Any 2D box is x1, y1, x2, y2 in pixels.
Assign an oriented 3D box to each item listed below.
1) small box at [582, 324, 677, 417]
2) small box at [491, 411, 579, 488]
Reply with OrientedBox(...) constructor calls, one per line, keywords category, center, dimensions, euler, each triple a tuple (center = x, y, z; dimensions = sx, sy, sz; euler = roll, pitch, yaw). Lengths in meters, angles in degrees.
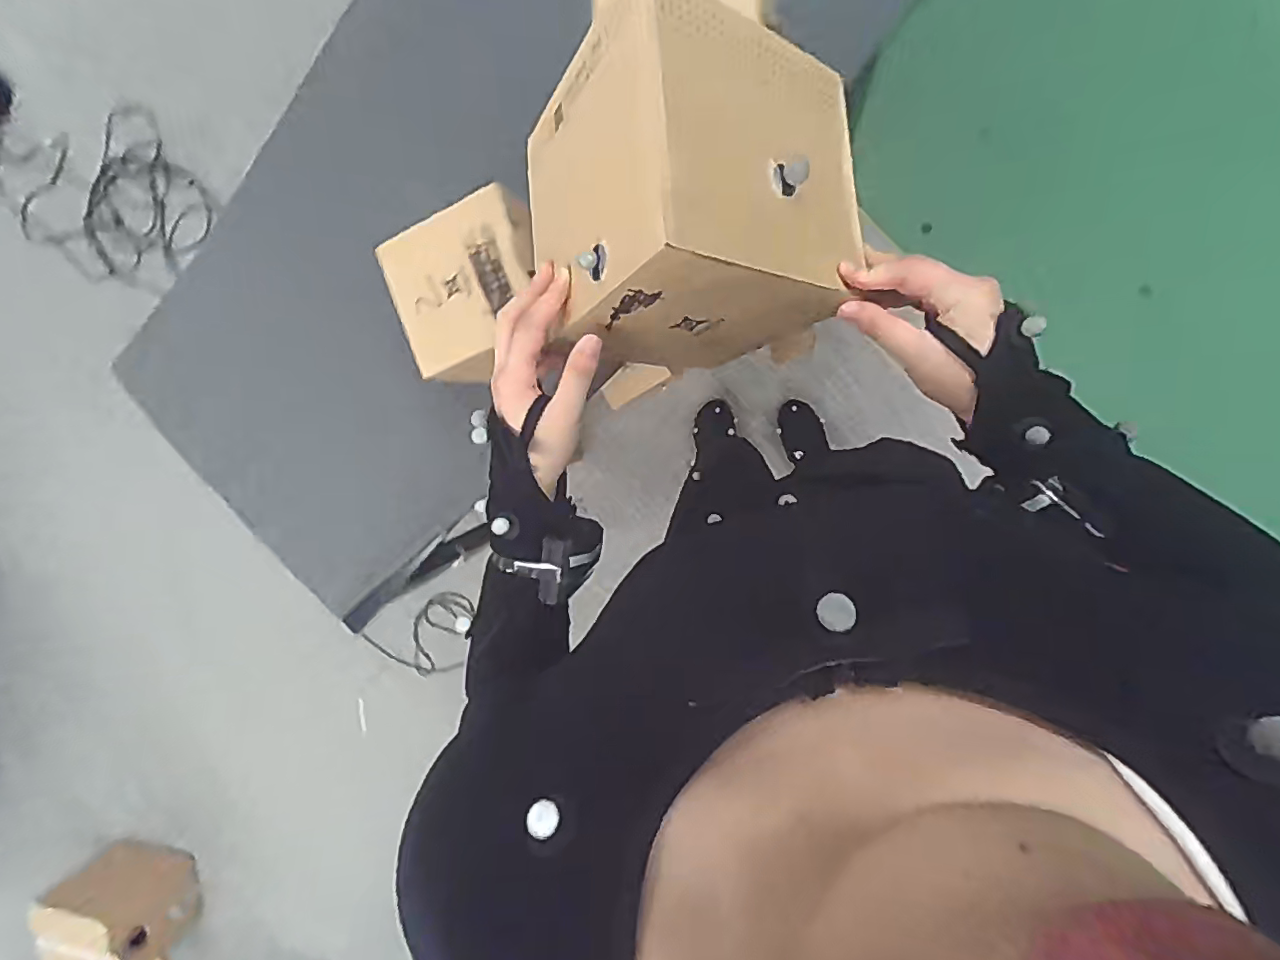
OrientedBox(category="small box", center=(-0.017, -0.280, 1.400), dimensions=(0.179, 0.176, 0.168), euler=(-31, 90, 17))
OrientedBox(category="small box", center=(-0.282, -0.089, 1.494), dimensions=(0.168, 0.176, 0.179), euler=(-11, 95, 15))
